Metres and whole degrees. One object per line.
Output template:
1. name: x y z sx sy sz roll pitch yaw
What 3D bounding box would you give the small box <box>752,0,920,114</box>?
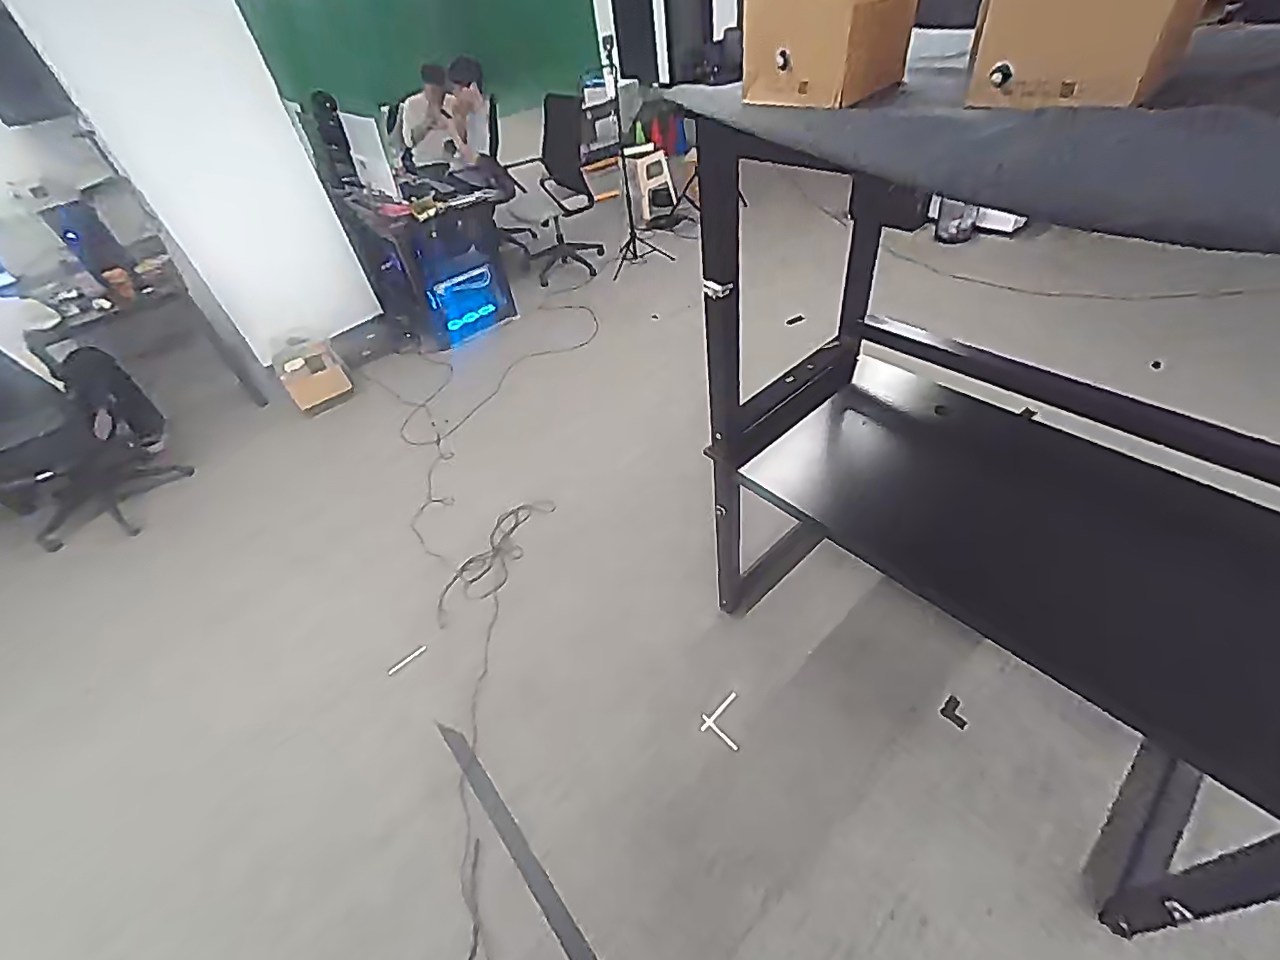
1. small box: 0.266 -0.630 0.746 0.168 0.176 0.179 32 58 34
